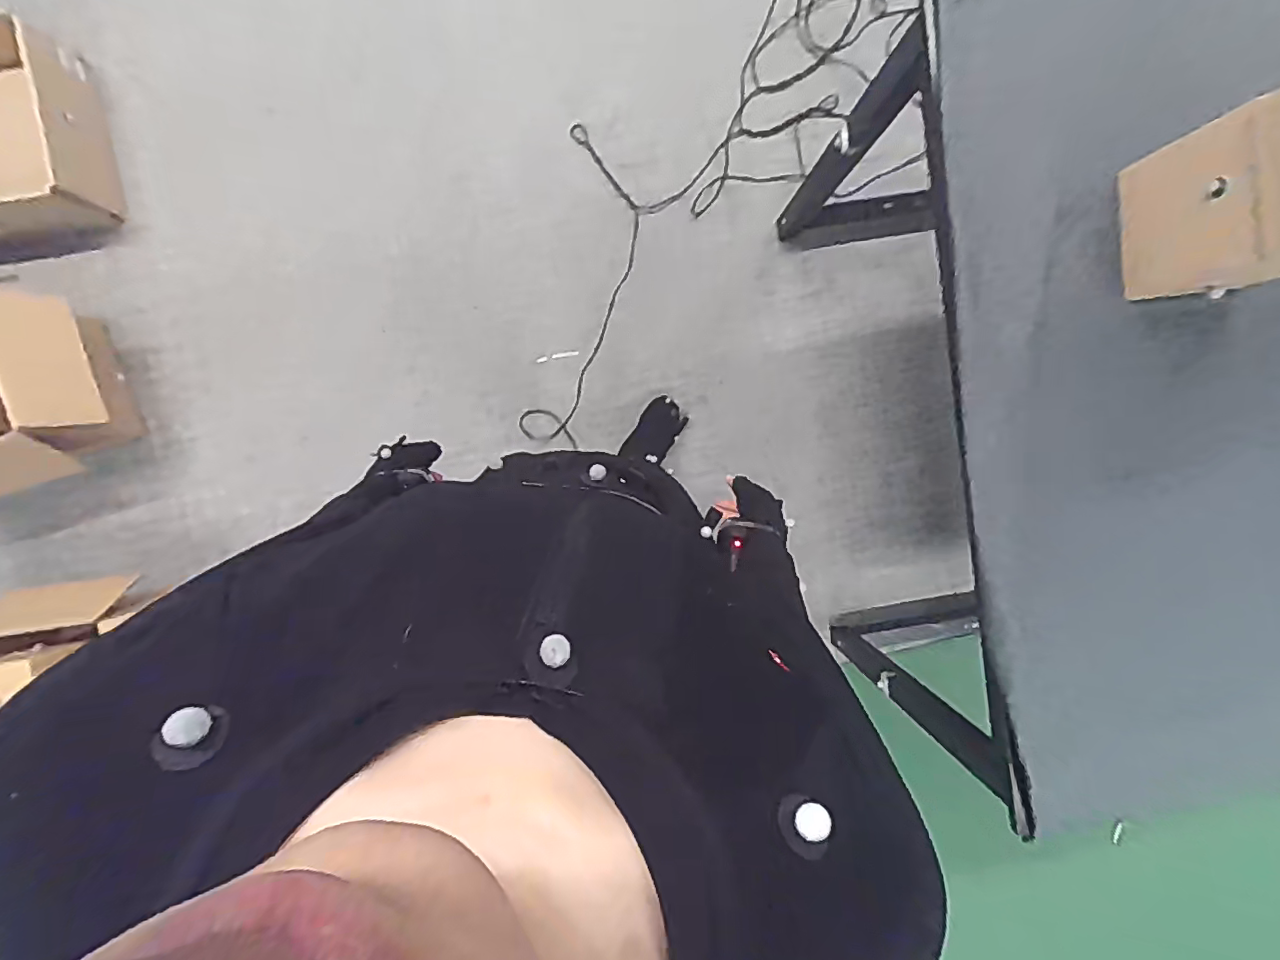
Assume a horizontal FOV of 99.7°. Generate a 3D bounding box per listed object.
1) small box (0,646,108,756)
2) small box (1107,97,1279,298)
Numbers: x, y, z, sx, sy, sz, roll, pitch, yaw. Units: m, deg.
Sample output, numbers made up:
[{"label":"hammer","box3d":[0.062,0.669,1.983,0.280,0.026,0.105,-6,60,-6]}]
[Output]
[{"label":"small box","box3d":[-1.314,0.470,1.162,0.168,0.176,0.179,-8,92,-2]},{"label":"small box","box3d":[0.740,-0.347,0.683,0.168,0.176,0.179,-7,94,-2]}]
